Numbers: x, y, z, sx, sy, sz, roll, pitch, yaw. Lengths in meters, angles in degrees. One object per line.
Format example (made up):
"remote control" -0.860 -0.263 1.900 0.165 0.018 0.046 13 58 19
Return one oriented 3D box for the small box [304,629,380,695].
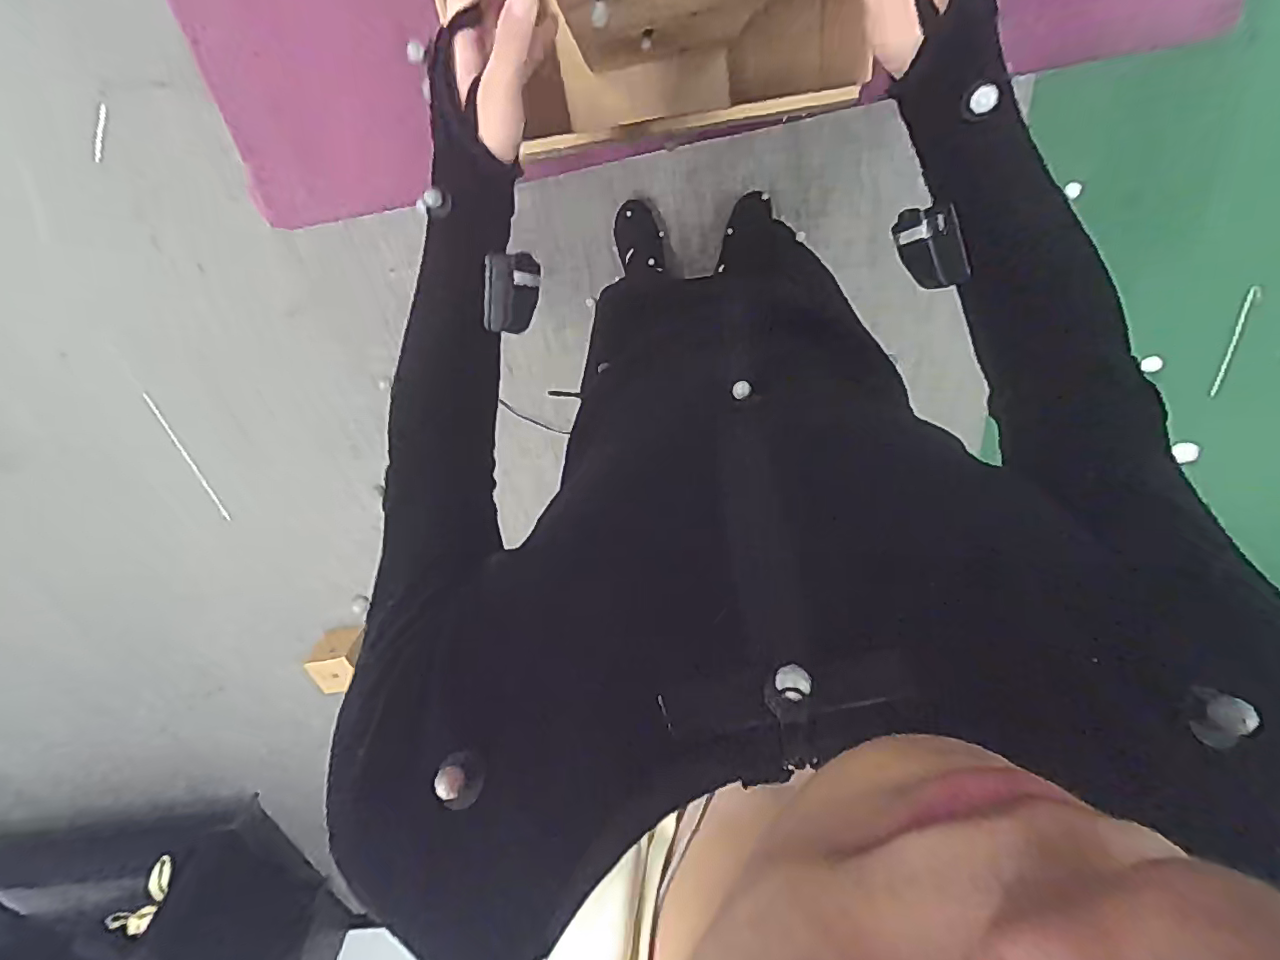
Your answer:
"small box" -1.134 0.695 2.082 0.179 0.176 0.168 -12 118 8
